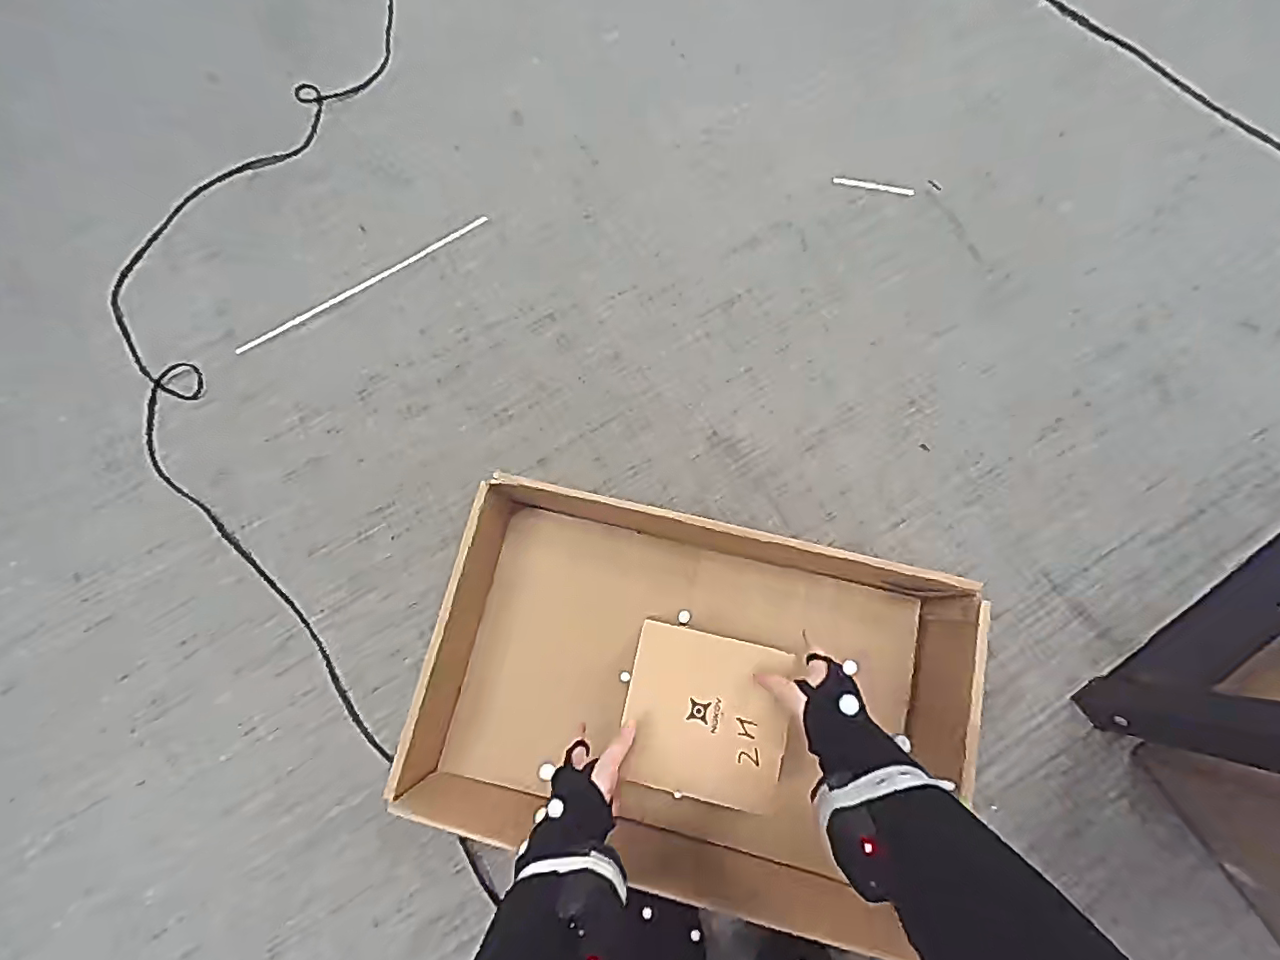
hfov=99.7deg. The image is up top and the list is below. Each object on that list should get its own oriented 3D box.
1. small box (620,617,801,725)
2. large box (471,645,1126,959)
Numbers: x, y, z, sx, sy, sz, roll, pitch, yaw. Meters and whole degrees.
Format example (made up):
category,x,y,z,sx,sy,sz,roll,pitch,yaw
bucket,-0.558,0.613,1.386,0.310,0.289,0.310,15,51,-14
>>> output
category,x,y,z,sx,sy,sz,roll,pitch,yaw
small box,0.076,0.266,0.651,0.179,0.176,0.168,12,79,6
large box,0.136,0.375,0.453,0.320,0.408,0.320,29,86,37
